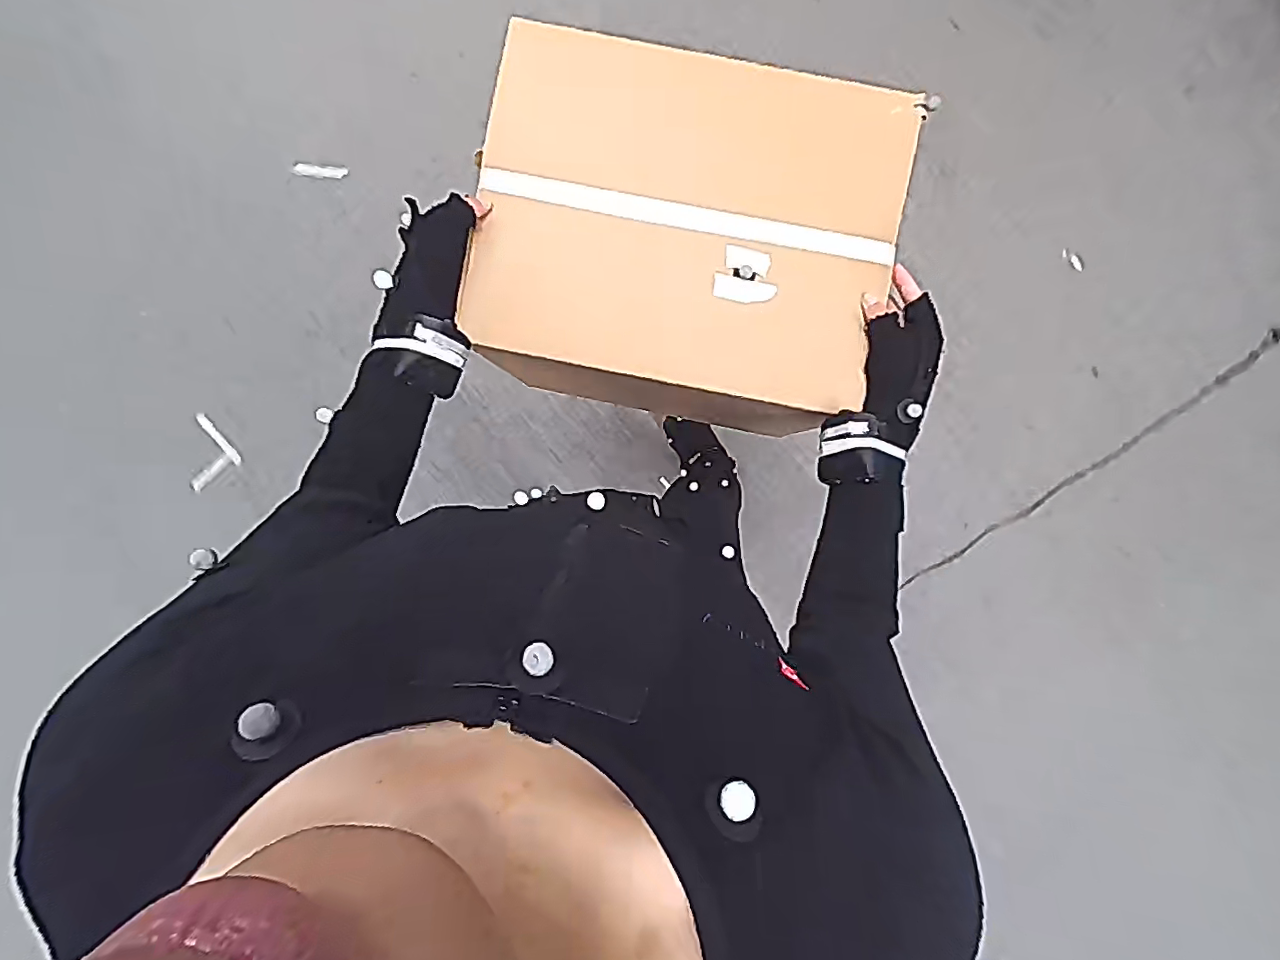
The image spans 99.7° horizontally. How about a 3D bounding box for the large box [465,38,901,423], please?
[{"bbox_3d":[0.040,-0.263,0.687,0.408,0.320,0.320,10,92,0],"label":"large box"}]
